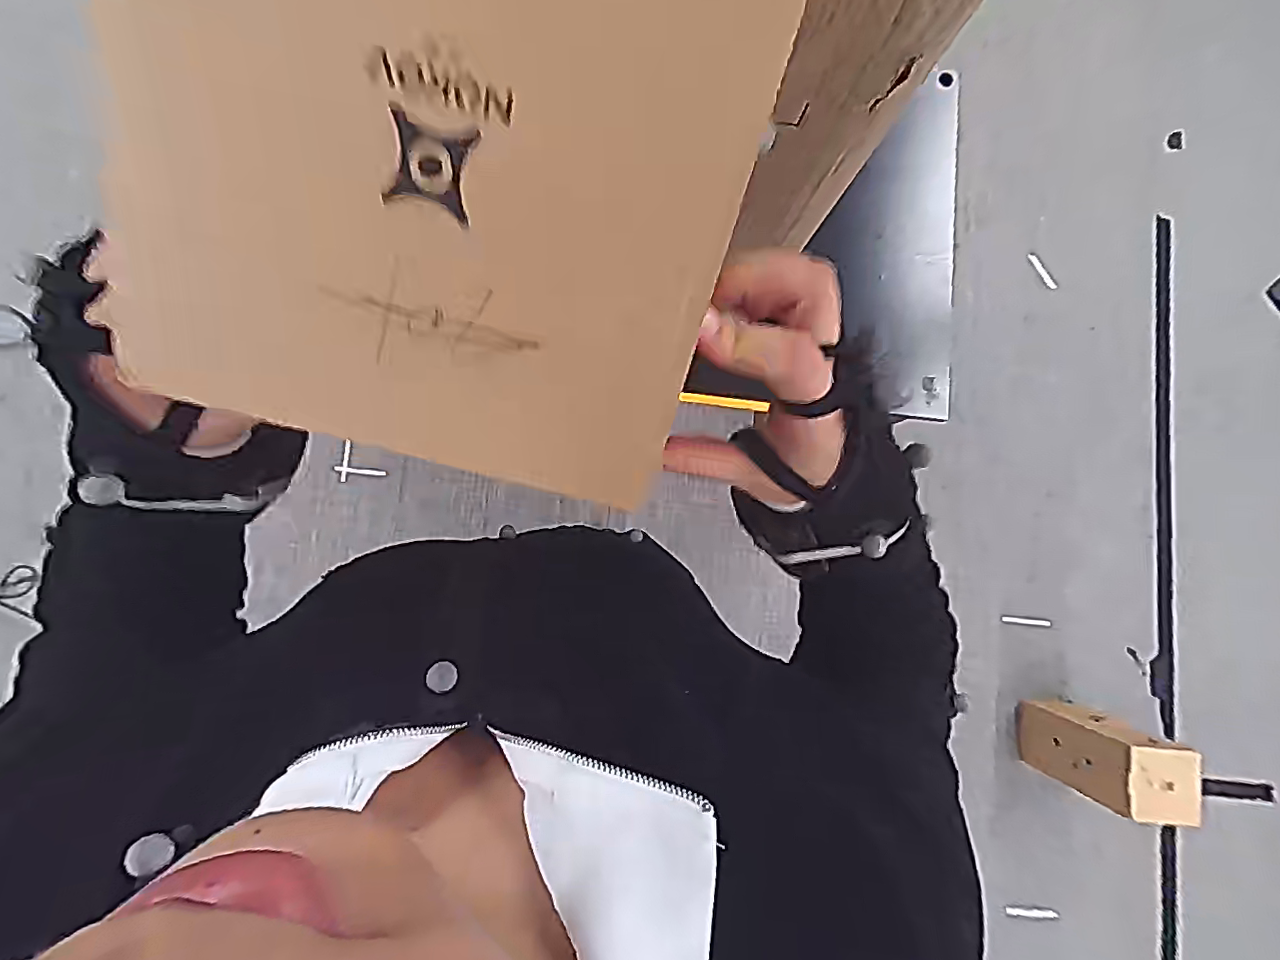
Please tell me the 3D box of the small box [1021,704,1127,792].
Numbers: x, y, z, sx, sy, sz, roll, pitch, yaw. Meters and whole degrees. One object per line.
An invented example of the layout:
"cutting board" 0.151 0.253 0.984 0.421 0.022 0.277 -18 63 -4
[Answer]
"small box" 1.179 0.723 1.476 0.168 0.176 0.179 3 85 -4

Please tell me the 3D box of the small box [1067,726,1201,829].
"small box" 1.193 0.713 1.312 0.179 0.176 0.168 7 84 -4

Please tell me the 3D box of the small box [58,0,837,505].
"small box" -0.047 -0.119 0.201 0.168 0.176 0.179 14 114 -6
